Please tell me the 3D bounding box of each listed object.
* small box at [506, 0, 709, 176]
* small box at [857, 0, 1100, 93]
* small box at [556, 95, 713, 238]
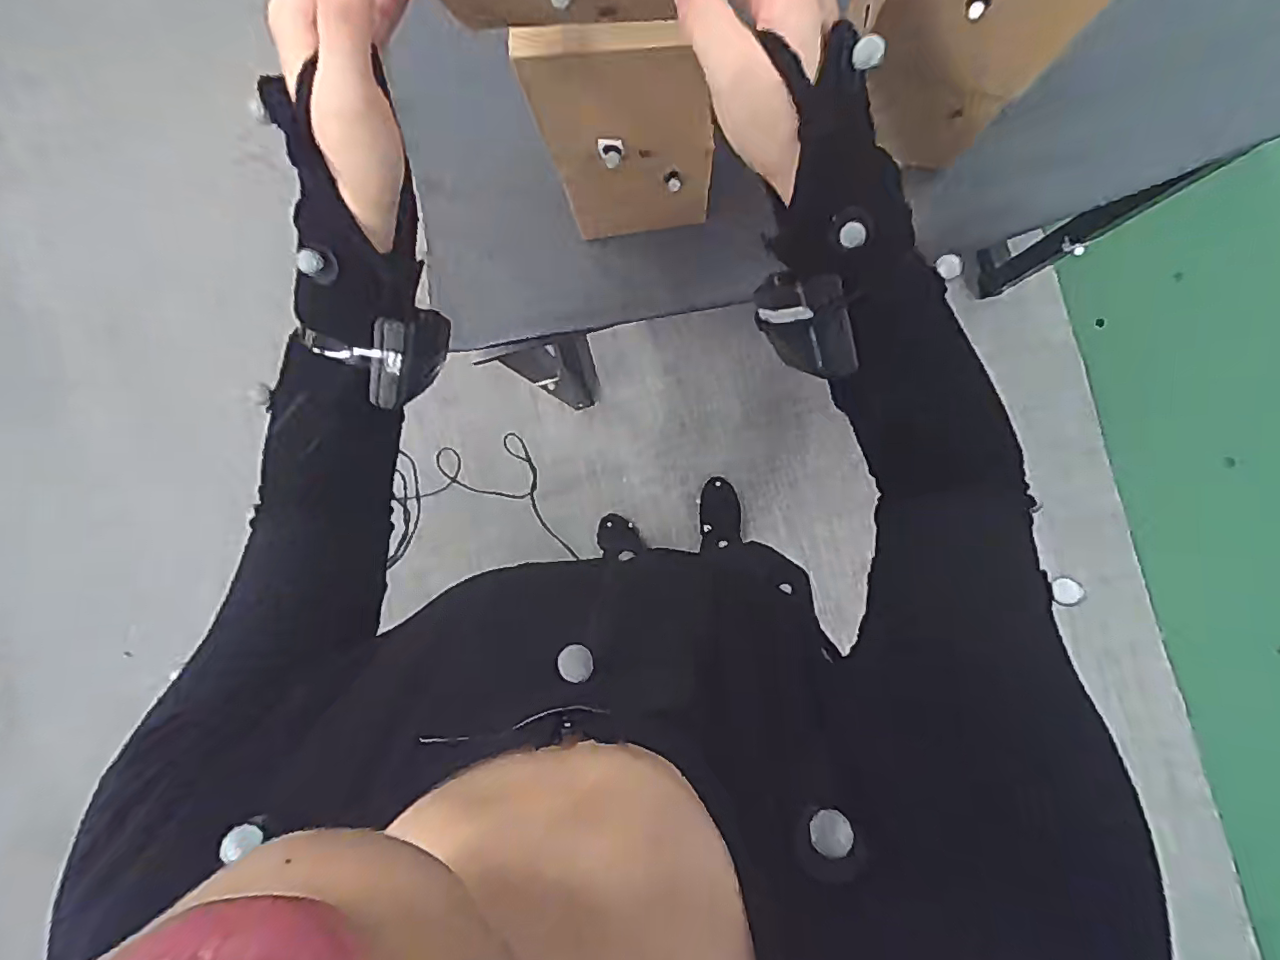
[{"bbox_3d":[-0.022,-0.424,0.513,0.168,0.176,0.179,-1,91,5],"label":"small box"},{"bbox_3d":[0.326,-0.496,0.486,0.179,0.176,0.168,16,90,4],"label":"small box"},{"bbox_3d":[-0.010,-0.427,0.675,0.179,0.176,0.168,-7,89,4],"label":"small box"}]
